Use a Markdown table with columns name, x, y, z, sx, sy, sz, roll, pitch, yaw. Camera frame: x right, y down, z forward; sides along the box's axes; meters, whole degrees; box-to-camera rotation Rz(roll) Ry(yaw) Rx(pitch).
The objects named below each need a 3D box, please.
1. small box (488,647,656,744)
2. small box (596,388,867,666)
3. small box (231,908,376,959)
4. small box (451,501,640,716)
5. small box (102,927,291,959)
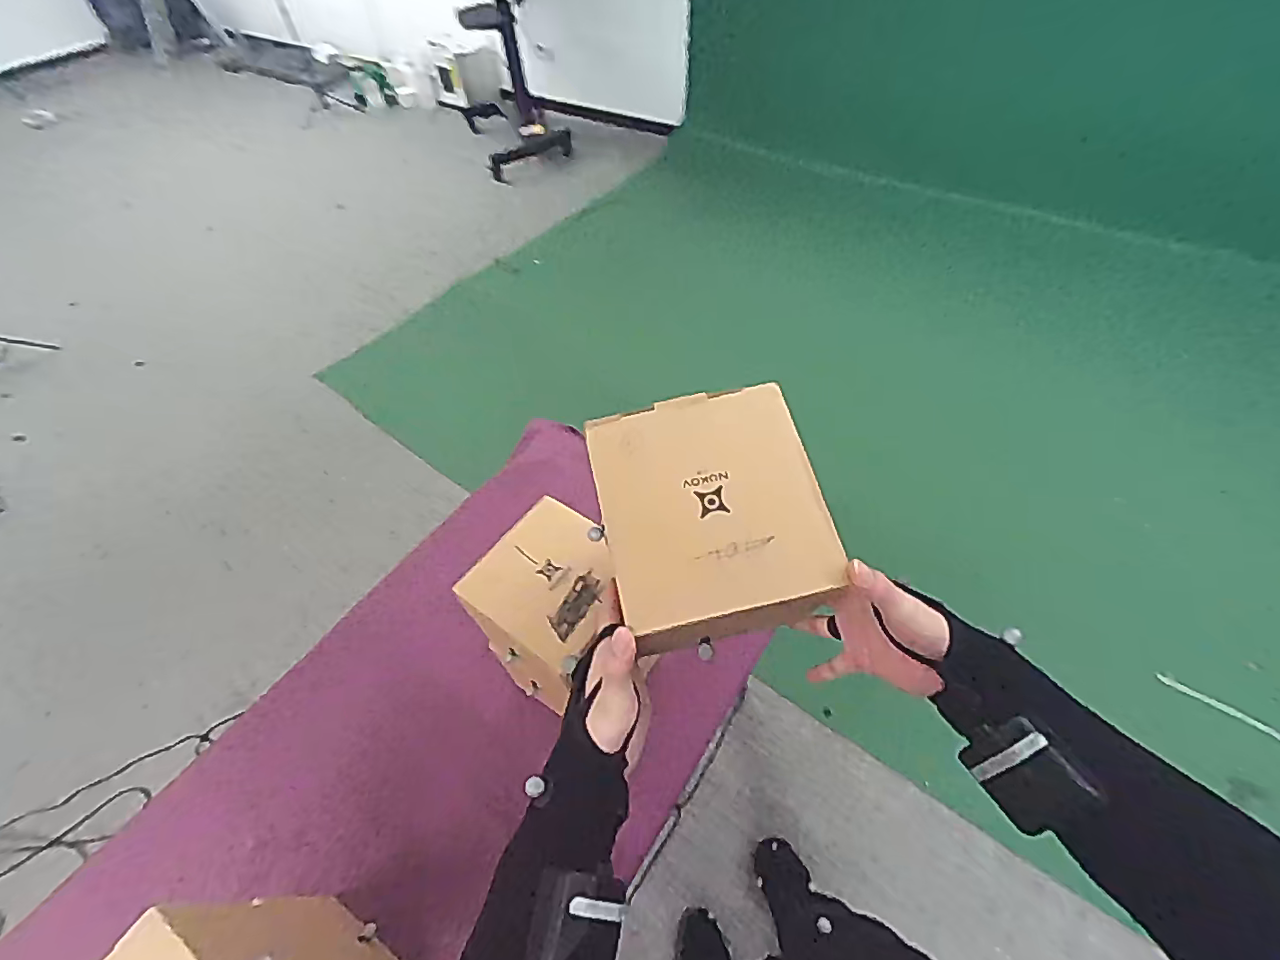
| name | x | y | z | sx | sy | sz | roll | pitch | yaw |
| --- | --- | --- | --- | --- | --- | --- | --- | --- | --- |
| small box | -0.086 | 0.263 | 0.801 | 0.179 | 0.176 | 0.168 | 25 | 58 | 24 |
| small box | 0.060 | 0.049 | 0.467 | 0.168 | 0.176 | 0.179 | -11 | 66 | -4 |
| small box | -0.376 | 0.589 | 0.560 | 0.179 | 0.176 | 0.168 | 23 | 57 | 21 |
| small box | -0.091 | 0.165 | 0.669 | 0.179 | 0.176 | 0.168 | 28 | 59 | 26 |
| small box | -0.369 | 0.492 | 0.425 | 0.179 | 0.176 | 0.168 | 24 | 56 | 21 |
